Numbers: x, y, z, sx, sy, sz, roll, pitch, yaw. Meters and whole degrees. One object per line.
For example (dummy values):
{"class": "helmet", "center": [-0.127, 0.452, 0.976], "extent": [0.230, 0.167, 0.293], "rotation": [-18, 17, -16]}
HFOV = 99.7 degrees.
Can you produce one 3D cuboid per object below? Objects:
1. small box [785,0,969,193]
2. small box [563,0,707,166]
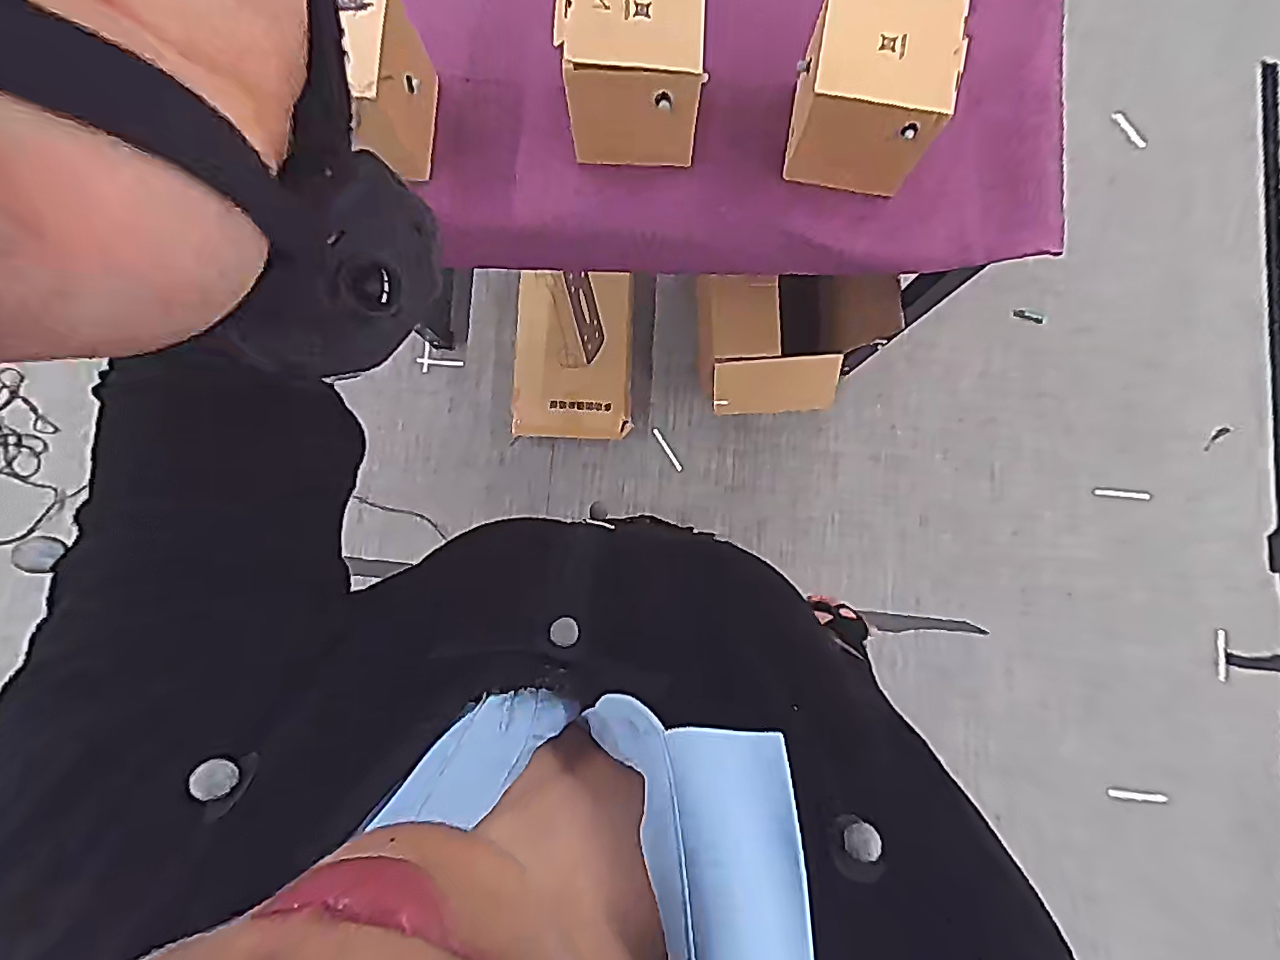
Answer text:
{"class": "small box", "center": [0.311, -0.528, 0.746], "extent": [0.179, 0.176, 0.168], "rotation": [10, 85, 1]}
{"class": "small box", "center": [-0.005, -0.567, 0.751], "extent": [0.179, 0.176, 0.168], "rotation": [3, 82, 1]}
